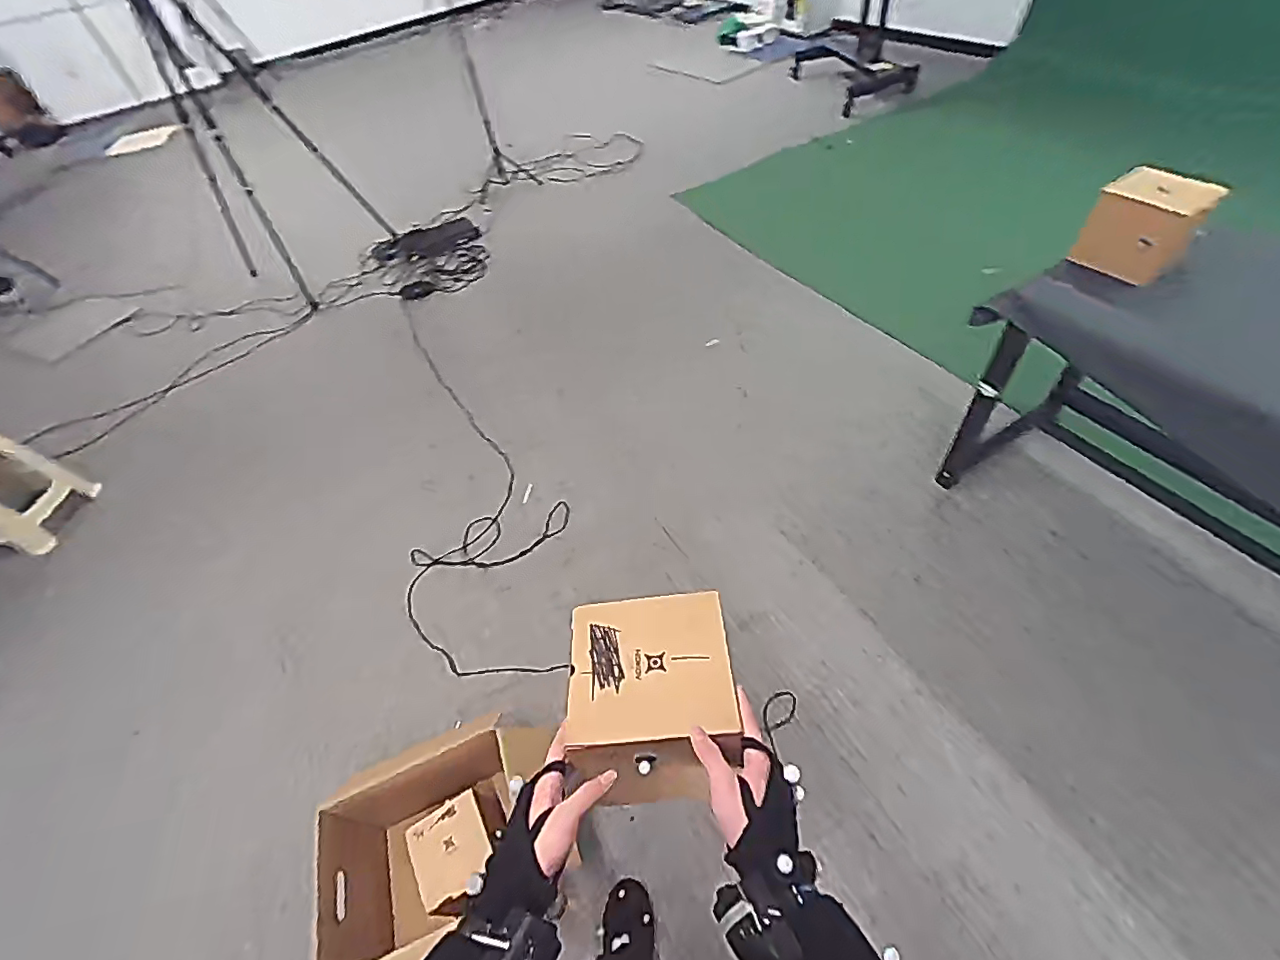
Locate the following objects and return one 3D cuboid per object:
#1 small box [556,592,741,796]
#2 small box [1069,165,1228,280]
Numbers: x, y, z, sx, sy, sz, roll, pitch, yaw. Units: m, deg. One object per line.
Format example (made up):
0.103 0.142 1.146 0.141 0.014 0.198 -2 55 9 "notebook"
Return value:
0.019 0.249 0.624 0.179 0.176 0.168 -5 43 7 "small box"
1.150 -0.585 1.239 0.168 0.176 0.179 -31 53 -16 "small box"
